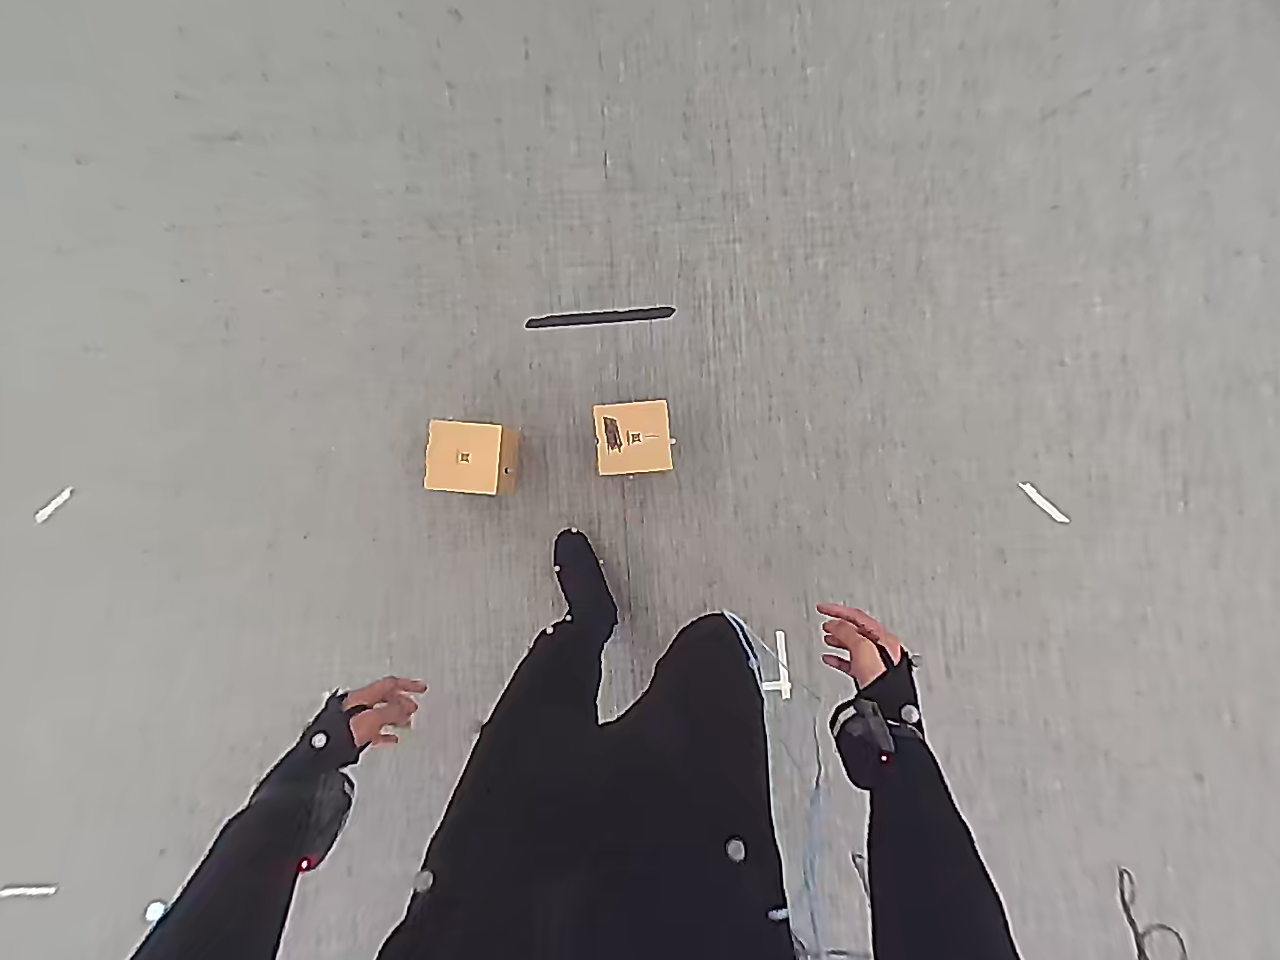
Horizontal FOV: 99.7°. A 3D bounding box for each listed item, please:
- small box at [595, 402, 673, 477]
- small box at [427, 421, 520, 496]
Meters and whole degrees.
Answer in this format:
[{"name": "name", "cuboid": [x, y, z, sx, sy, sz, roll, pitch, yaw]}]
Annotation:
[{"name": "small box", "cuboid": [-0.012, -0.094, 1.337, 0.179, 0.176, 0.168, -4, 89, 0]}, {"name": "small box", "cuboid": [-0.406, -0.052, 1.348, 0.179, 0.176, 0.168, 5, 90, 2]}]
